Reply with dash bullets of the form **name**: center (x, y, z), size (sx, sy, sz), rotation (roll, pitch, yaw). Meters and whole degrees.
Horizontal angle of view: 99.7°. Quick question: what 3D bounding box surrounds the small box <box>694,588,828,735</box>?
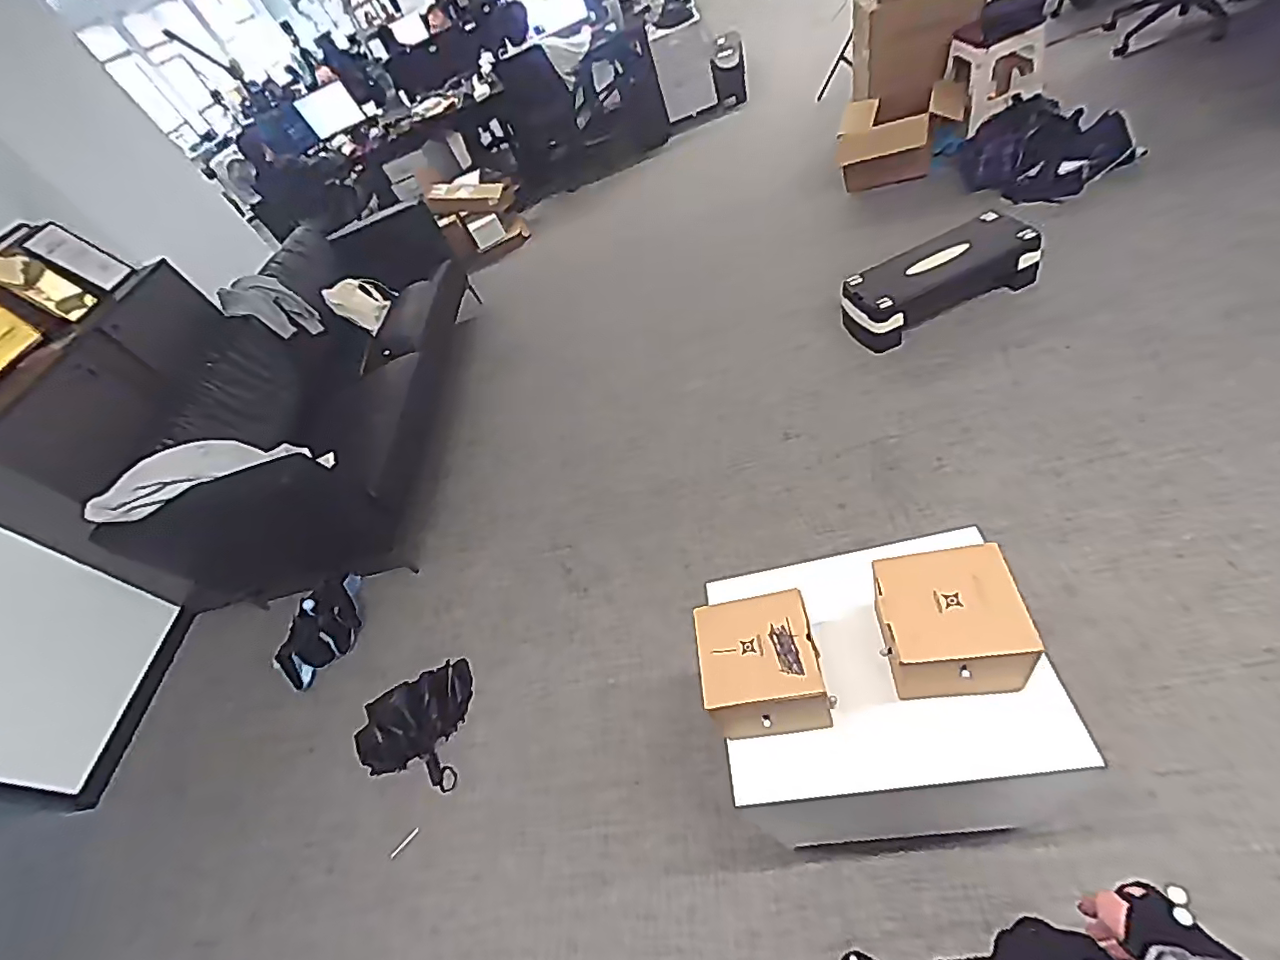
- **small box**: center (0.198, 0.300, 0.878), size (0.179, 0.176, 0.168), rotation (-15, 47, 14)

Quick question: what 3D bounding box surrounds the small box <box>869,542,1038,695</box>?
- **small box**: center (0.463, 0.218, 0.825), size (0.179, 0.176, 0.168), rotation (-12, 50, 16)
